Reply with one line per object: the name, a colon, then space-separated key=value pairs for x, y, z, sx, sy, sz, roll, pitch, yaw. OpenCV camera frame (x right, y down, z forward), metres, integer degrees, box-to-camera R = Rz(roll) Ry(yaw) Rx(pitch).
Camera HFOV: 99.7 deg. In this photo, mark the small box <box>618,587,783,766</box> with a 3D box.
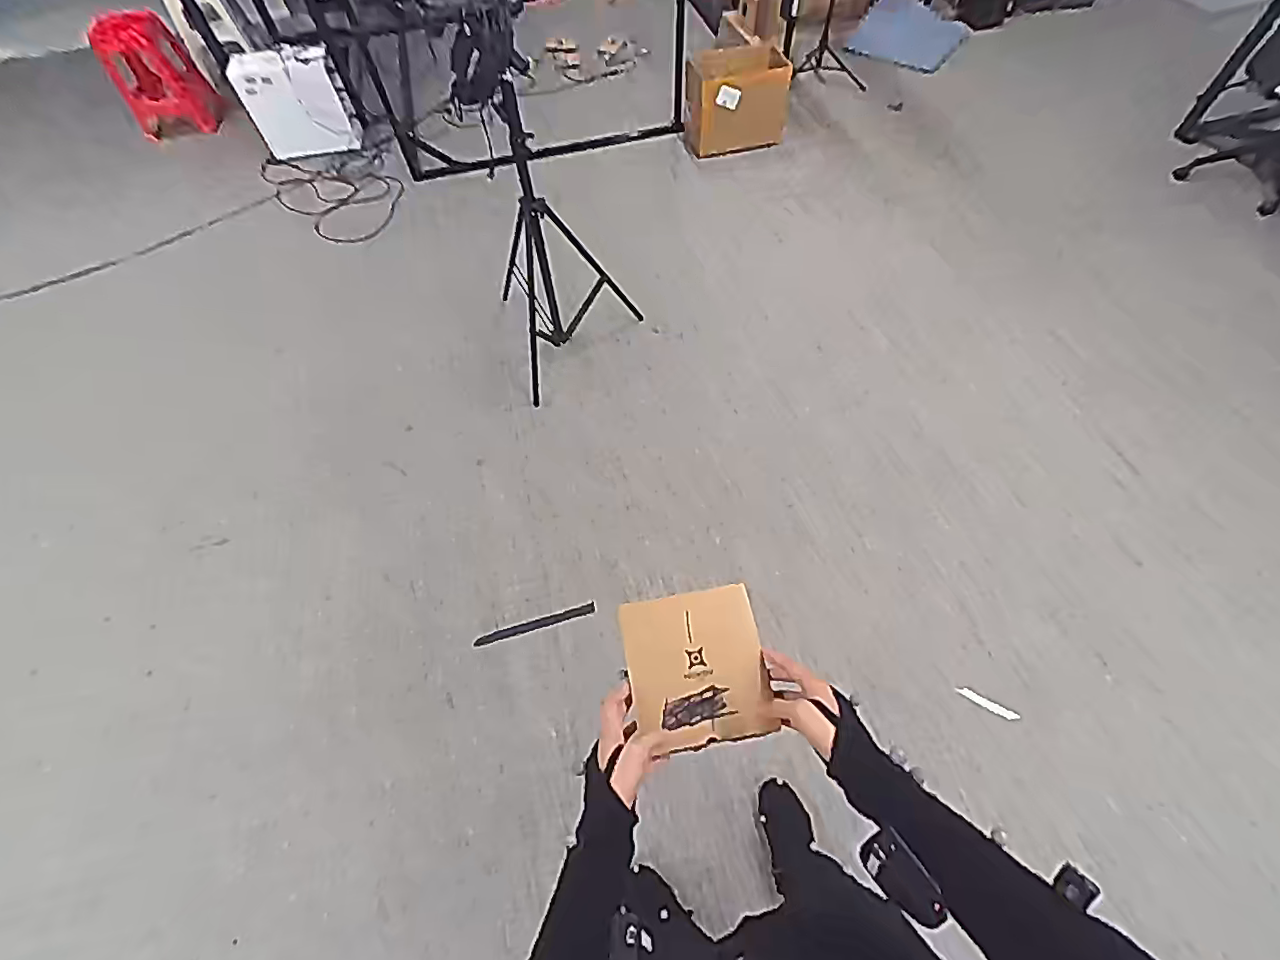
small box: x=0.068 y=0.251 z=0.704 sx=0.168 sy=0.176 sz=0.179 roll=-10 pitch=69 yaw=-5
